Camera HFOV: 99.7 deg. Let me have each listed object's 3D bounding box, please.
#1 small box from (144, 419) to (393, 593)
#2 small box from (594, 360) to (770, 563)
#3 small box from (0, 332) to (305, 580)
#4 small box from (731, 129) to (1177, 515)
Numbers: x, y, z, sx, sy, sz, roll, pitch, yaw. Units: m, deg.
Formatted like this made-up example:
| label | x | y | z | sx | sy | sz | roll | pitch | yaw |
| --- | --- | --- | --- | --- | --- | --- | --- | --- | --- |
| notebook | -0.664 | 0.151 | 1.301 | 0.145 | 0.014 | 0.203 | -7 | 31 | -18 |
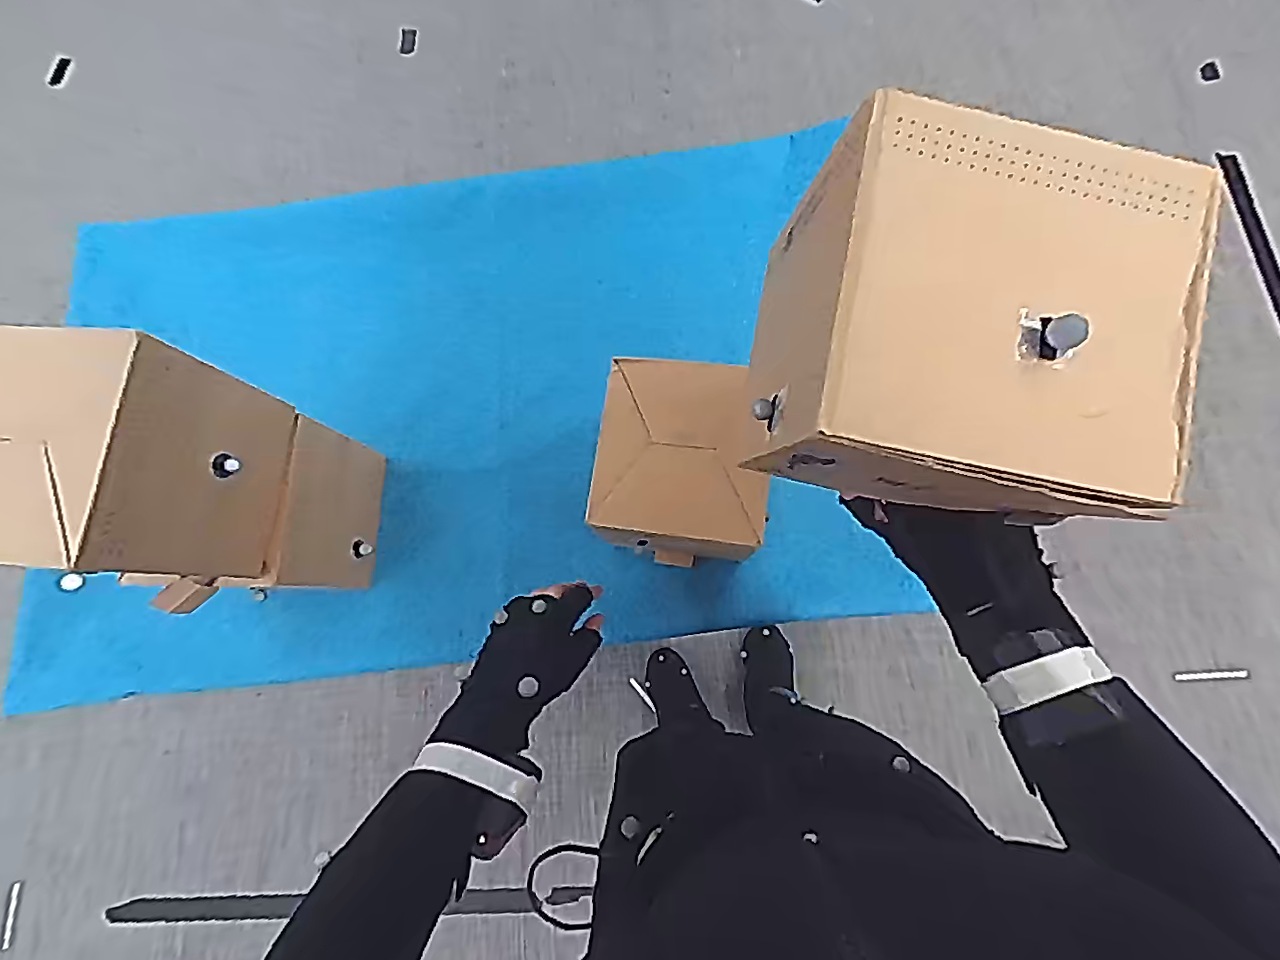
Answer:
| label | x | y | z | sx | sy | sz | roll | pitch | yaw |
| --- | --- | --- | --- | --- | --- | --- | --- | --- | --- |
| small box | -0.414 | 0.038 | 0.624 | 0.168 | 0.176 | 0.179 | -1 | 77 | 4 |
| small box | 0.050 | -0.012 | 0.596 | 0.168 | 0.176 | 0.179 | 6 | 76 | 6 |
| small box | -0.436 | -0.009 | 0.467 | 0.168 | 0.176 | 0.179 | 3 | 79 | 5 |
| small box | 0.171 | -0.076 | 0.334 | 0.179 | 0.168 | 0.176 | 10 | 85 | -3 |
